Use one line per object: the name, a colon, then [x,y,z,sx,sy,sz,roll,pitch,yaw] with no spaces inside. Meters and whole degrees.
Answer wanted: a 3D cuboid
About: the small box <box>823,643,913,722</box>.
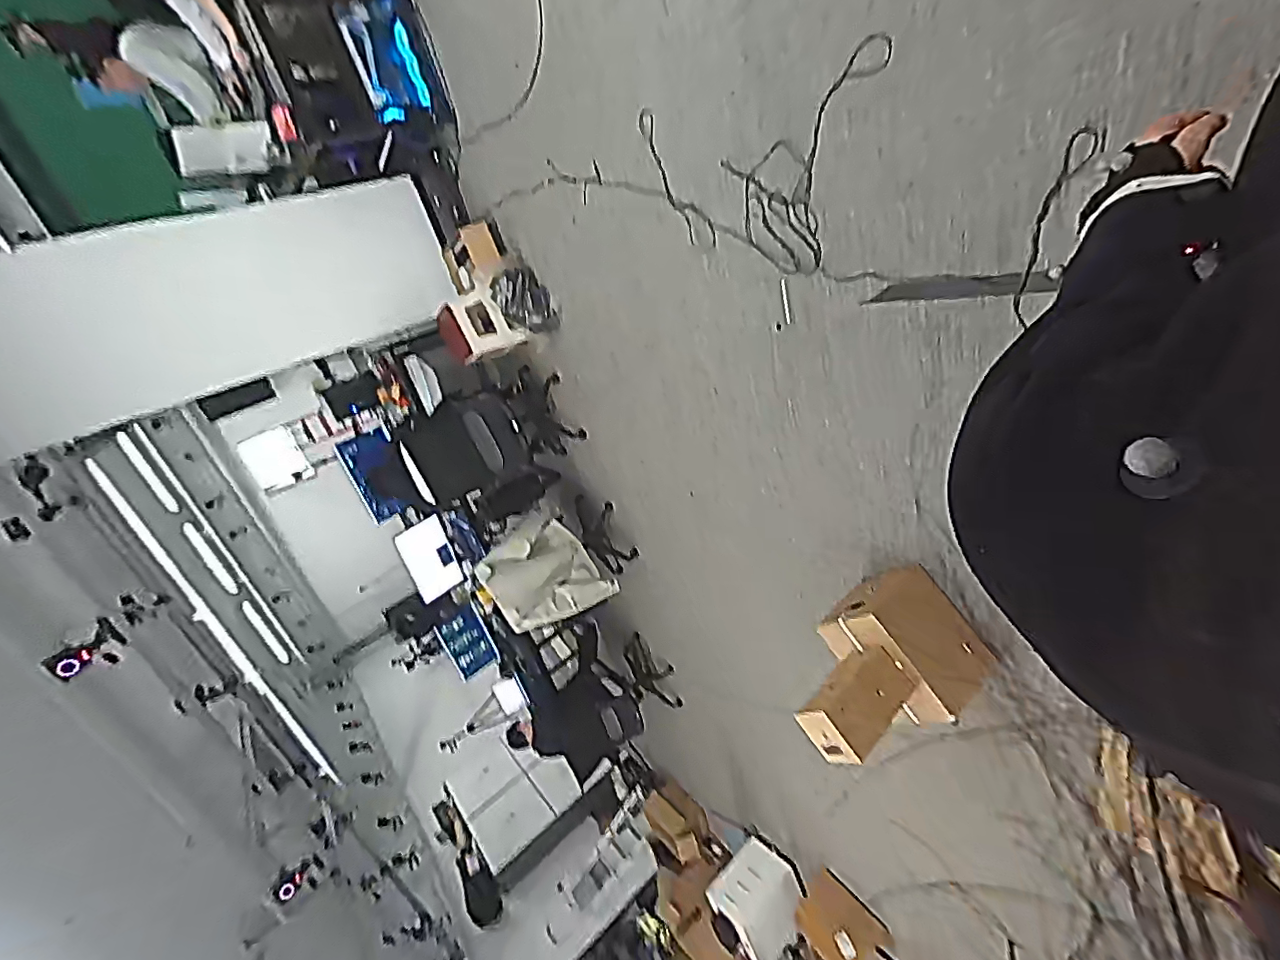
small box: [0.748,0.664,1.769,0.179,0.176,0.168,54,150,11]
